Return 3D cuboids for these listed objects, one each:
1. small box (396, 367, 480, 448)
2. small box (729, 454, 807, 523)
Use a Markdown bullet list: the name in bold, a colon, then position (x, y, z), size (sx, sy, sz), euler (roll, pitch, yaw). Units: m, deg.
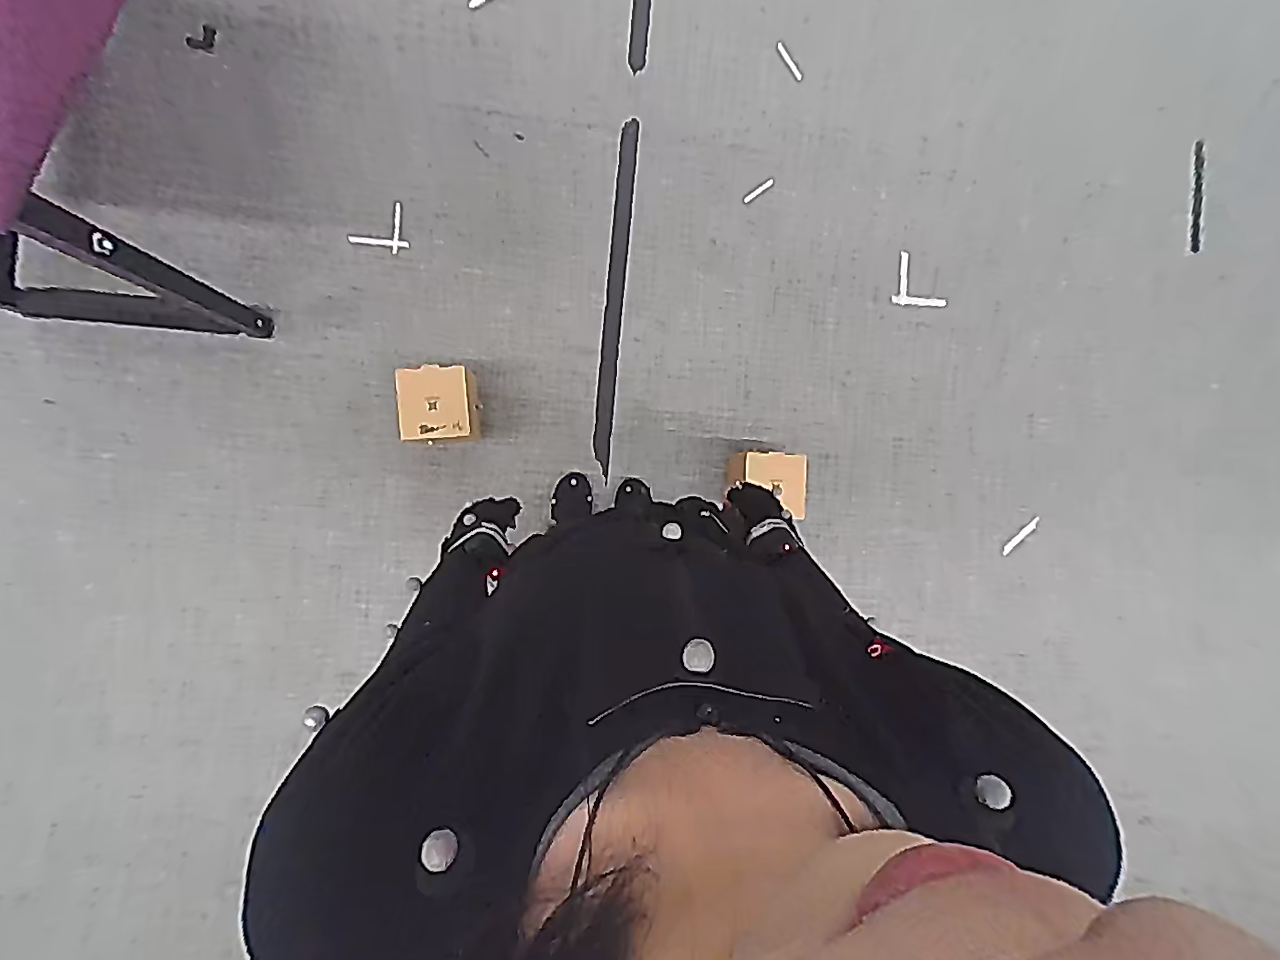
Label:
- **small box**: position (-0.509, -0.180, 1.379), size (0.168, 0.176, 0.179), euler (-5, 89, -7)
- **small box**: position (0.345, 0.023, 1.481), size (0.168, 0.176, 0.179), euler (2, 90, -6)
